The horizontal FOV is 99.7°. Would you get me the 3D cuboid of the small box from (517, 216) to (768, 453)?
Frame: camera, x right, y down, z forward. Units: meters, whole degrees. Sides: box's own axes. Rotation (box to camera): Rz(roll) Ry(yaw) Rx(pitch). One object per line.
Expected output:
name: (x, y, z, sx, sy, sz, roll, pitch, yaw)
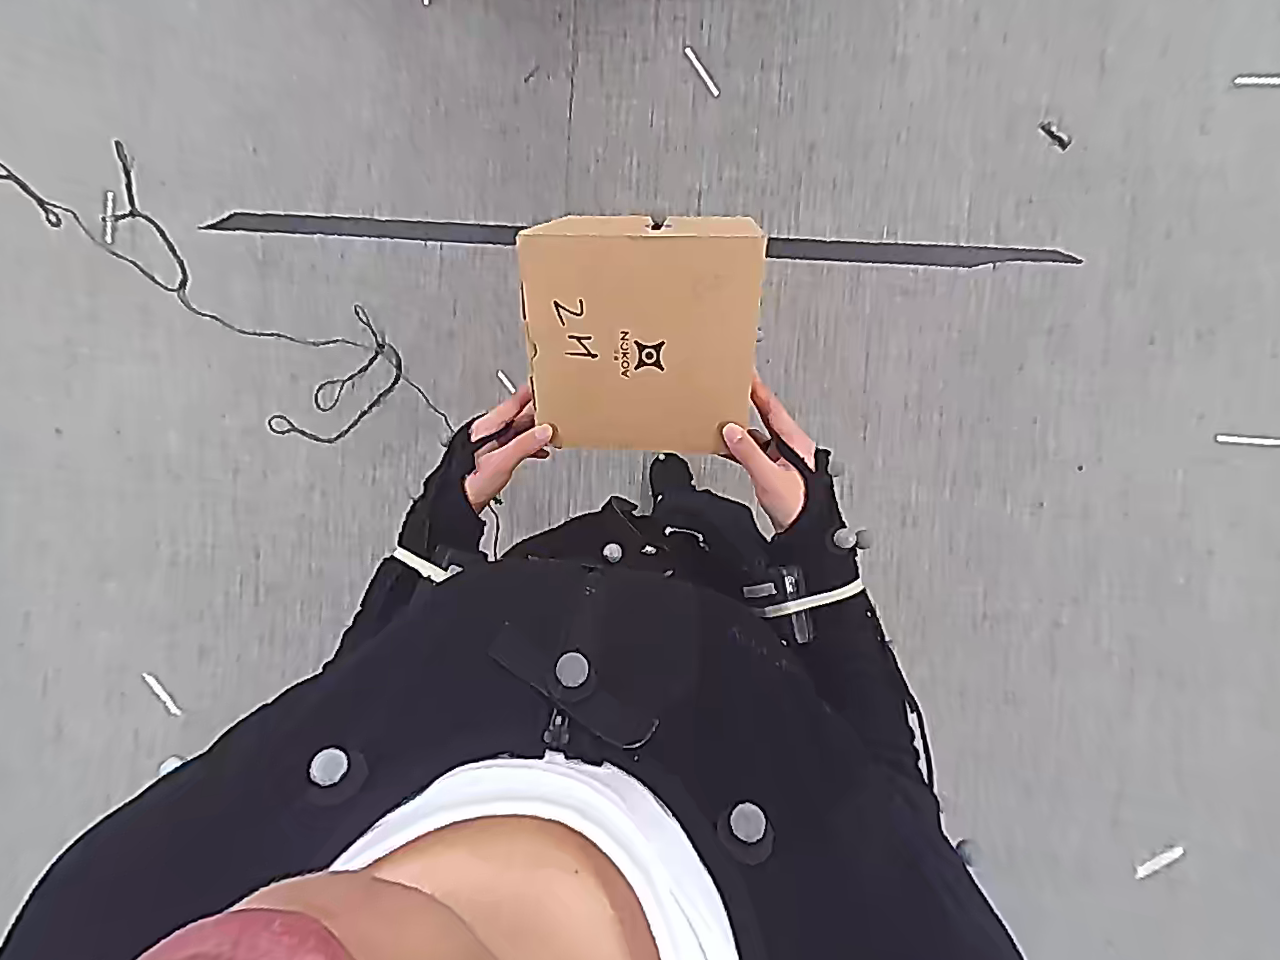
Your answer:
small box: (0.008, -0.136, 0.475, 0.179, 0.176, 0.168, 3, 119, 6)
